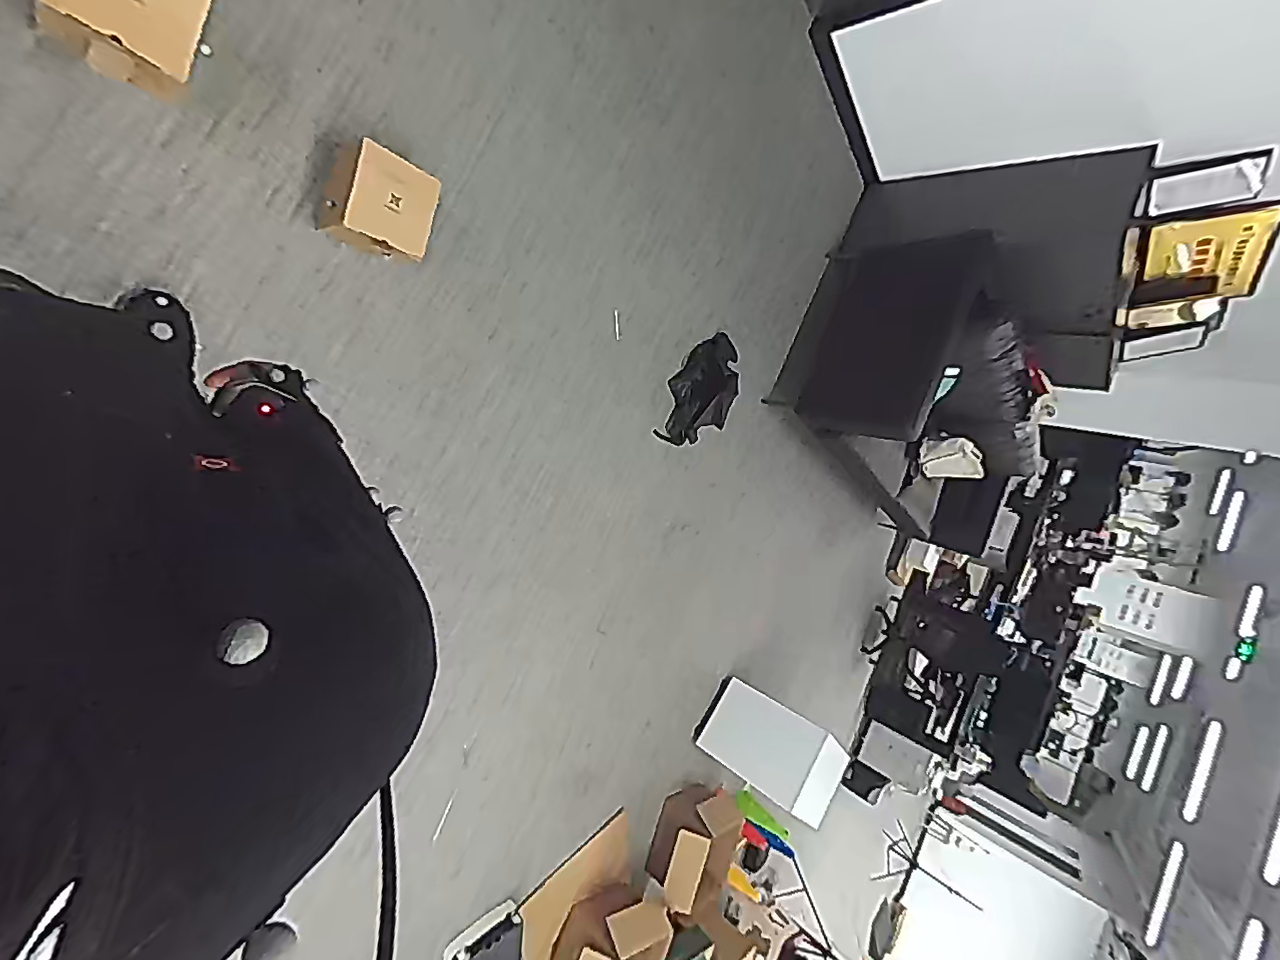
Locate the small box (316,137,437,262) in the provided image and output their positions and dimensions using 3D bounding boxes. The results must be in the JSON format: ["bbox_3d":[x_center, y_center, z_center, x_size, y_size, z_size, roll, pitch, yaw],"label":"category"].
[{"bbox_3d":[-0.564,-0.581,1.149,0.168,0.176,0.179,11,94,-50],"label":"small box"}]

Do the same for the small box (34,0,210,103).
[{"bbox_3d":[-0.800,-0.735,0.837,0.168,0.176,0.179,16,92,-49],"label":"small box"}]
